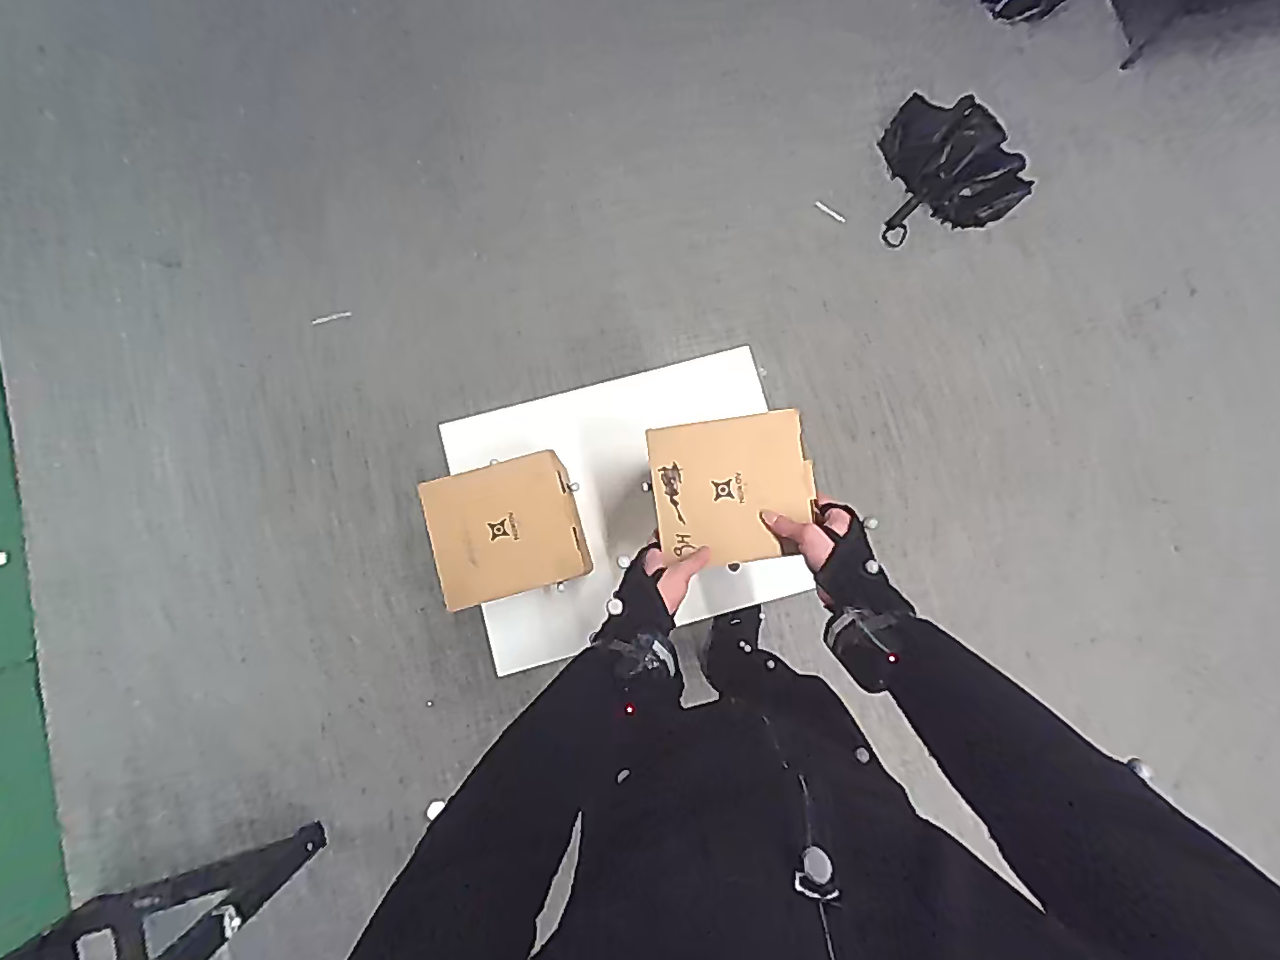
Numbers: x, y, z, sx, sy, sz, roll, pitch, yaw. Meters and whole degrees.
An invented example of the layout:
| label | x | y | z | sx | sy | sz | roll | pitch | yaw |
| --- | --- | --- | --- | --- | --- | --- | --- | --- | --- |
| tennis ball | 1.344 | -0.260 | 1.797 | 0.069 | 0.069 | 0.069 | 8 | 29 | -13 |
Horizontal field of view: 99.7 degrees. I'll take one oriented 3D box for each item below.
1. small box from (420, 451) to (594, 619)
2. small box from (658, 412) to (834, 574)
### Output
| label | x | y | z | sx | sy | sz | roll | pitch | yaw |
| --- | --- | --- | --- | --- | --- | --- | --- | --- | --- |
| small box | -0.164 | 0.074 | 0.718 | 0.179 | 0.176 | 0.168 | -15 | 81 | -6 |
| small box | 0.118 | 0.022 | 0.673 | 0.179 | 0.176 | 0.168 | -7 | 82 | 1 |
